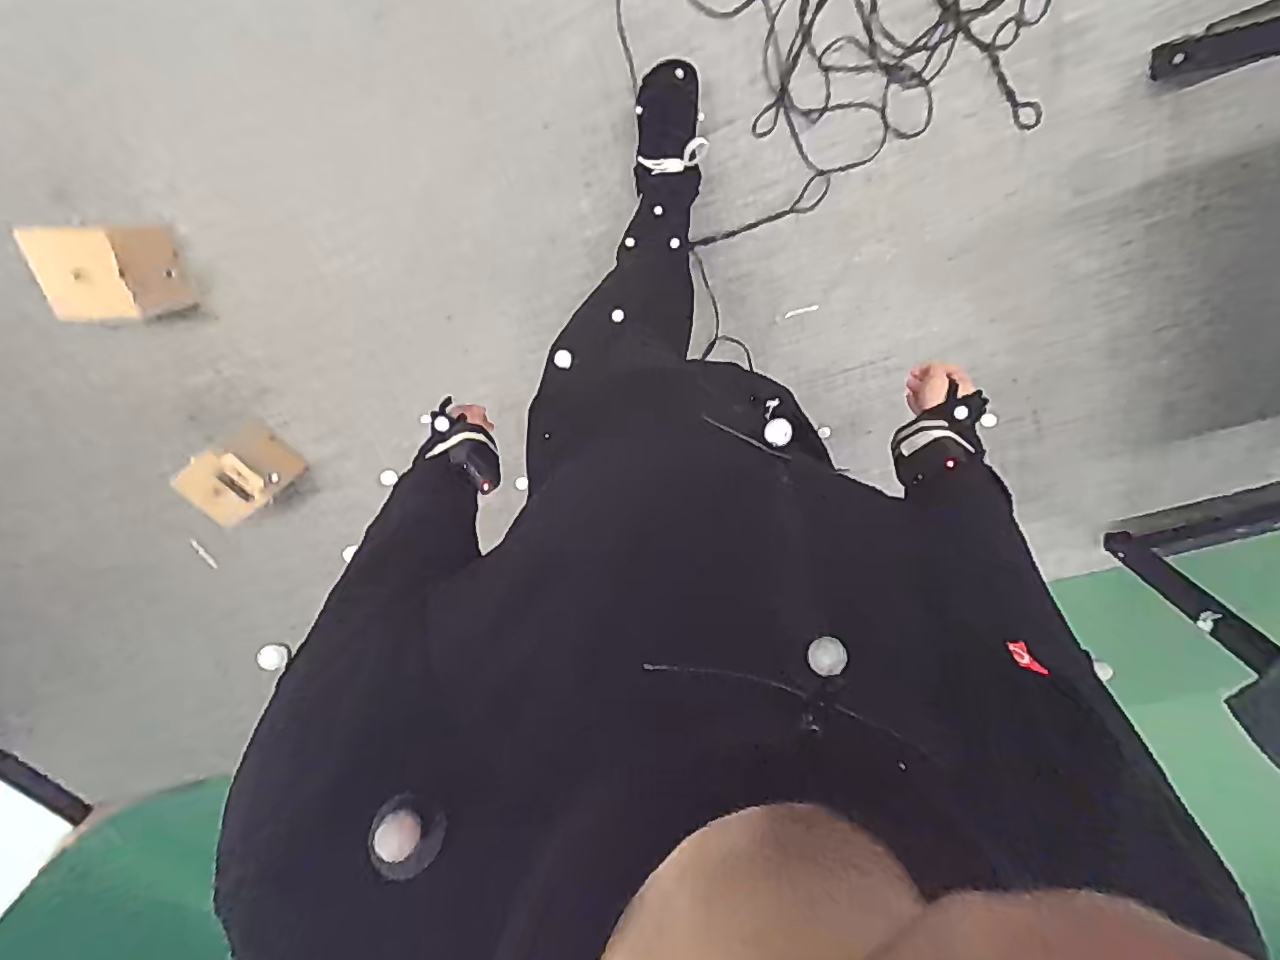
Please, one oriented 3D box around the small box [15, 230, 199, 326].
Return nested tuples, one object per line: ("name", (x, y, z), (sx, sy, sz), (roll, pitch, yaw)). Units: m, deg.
("small box", (-1.074, -0.416, 1.109), (0.179, 0.176, 0.168), (0, 119, 1))
